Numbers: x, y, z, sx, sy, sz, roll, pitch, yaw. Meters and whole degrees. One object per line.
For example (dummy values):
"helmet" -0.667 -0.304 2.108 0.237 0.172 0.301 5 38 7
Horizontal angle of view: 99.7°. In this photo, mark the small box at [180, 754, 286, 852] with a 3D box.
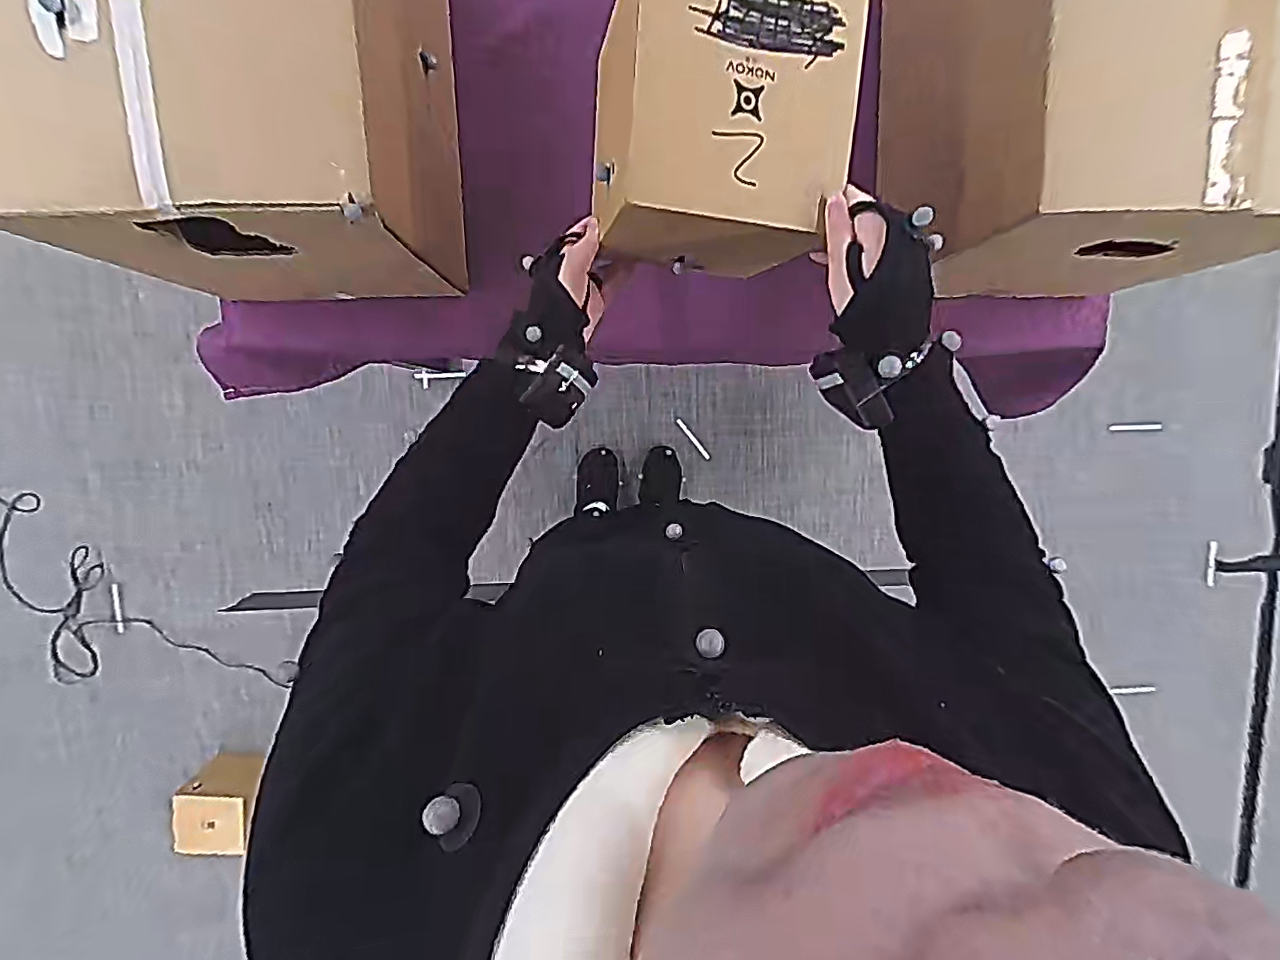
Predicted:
"small box" -1.098 0.873 1.474 0.179 0.176 0.168 4 98 -3
